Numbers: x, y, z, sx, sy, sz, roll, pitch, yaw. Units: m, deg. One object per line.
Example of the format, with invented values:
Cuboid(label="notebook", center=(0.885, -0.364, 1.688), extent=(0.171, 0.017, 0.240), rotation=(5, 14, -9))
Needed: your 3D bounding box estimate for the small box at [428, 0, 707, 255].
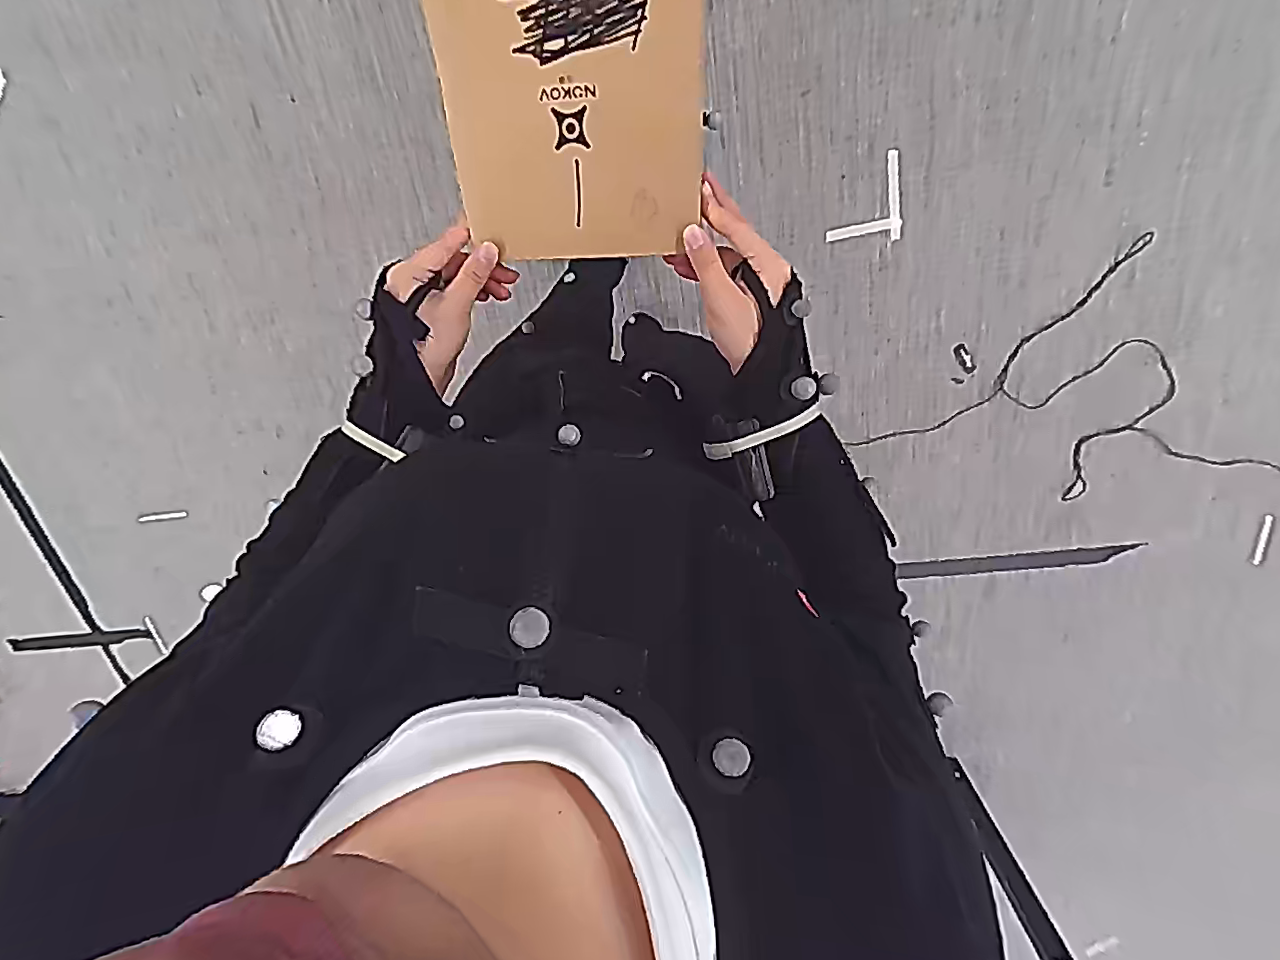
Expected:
Cuboid(label="small box", center=(-0.035, -0.278, 0.407), extent=(0.168, 0.176, 0.179), rotation=(1, 122, 7))
